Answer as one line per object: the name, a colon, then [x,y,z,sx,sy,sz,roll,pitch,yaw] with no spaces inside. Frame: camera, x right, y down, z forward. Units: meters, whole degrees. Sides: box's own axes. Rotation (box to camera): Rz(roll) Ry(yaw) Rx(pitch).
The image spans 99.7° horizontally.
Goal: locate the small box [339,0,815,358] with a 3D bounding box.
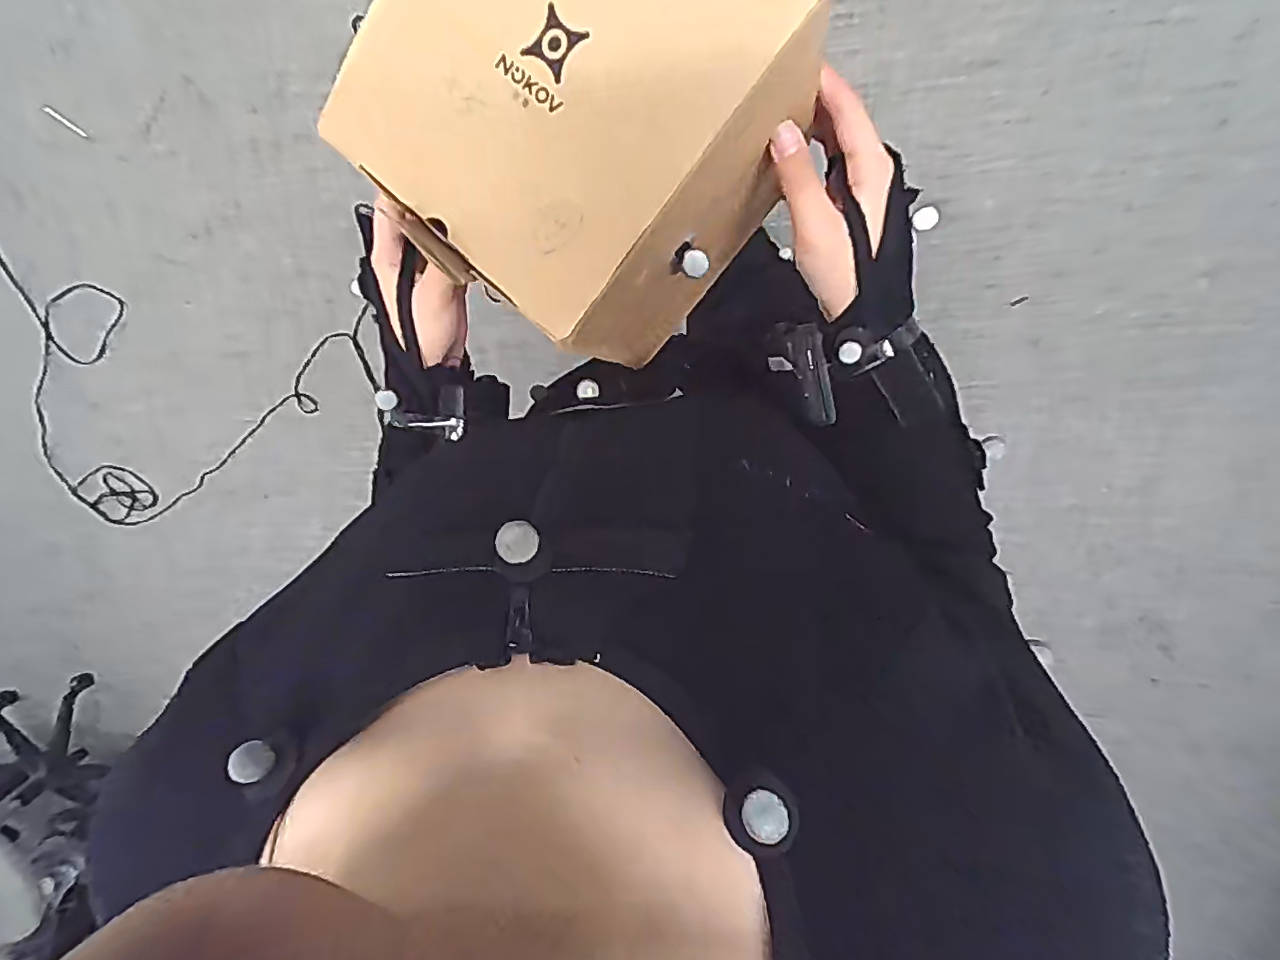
small box: [-0.021,-0.188,0.318,0.168,0.176,0.179,41,106,4]
